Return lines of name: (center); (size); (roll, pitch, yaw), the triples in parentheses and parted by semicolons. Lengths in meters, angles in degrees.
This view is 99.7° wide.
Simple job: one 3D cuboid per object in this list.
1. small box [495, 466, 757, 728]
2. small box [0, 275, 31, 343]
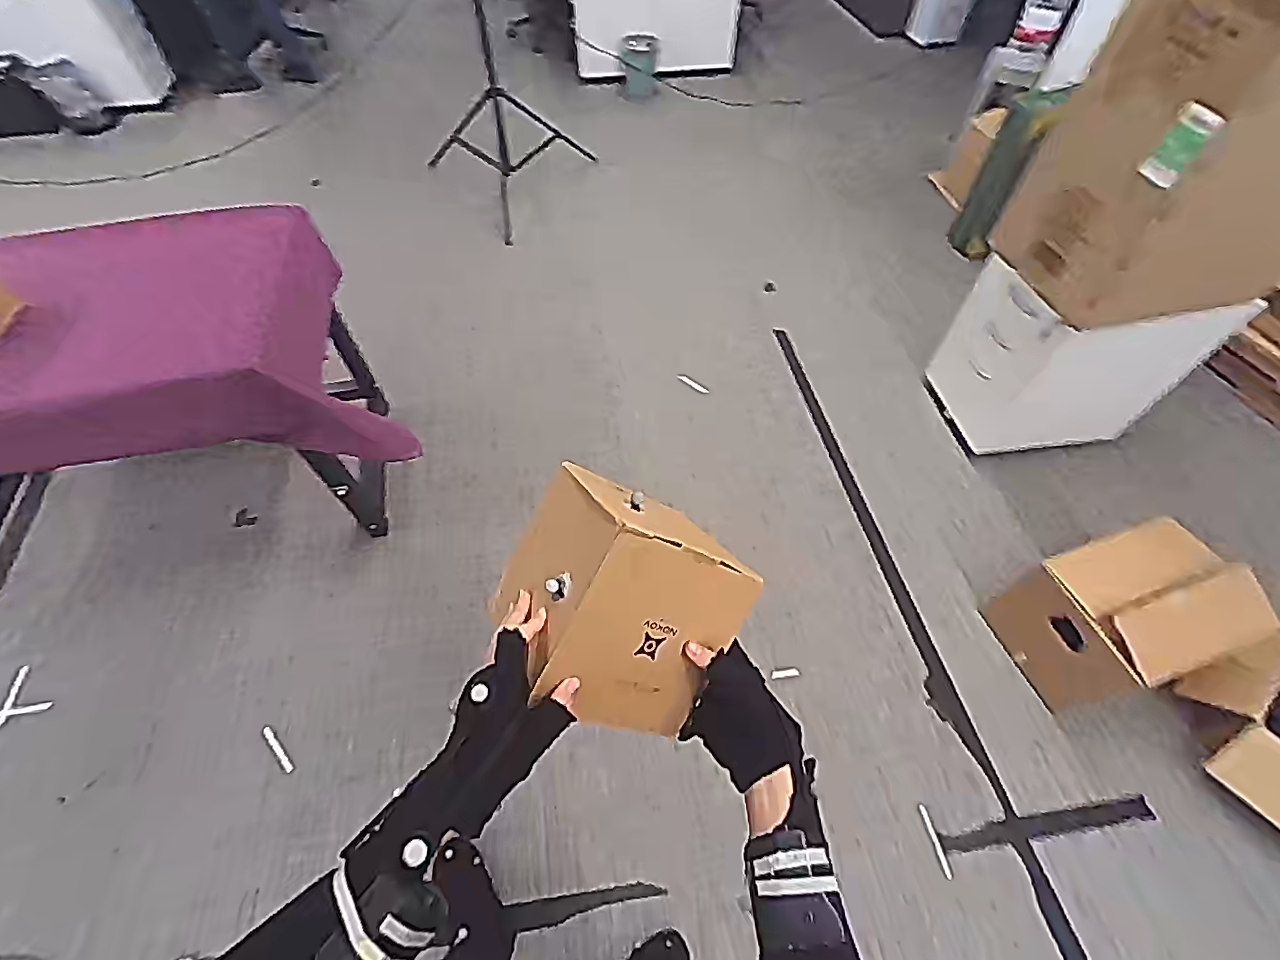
small box: (-0.027, 0.106, 0.533); (0.179, 0.168, 0.176); (-62, 30, 6)
small box: (-1.403, -0.360, 1.075); (0.168, 0.176, 0.179); (-4, 54, -3)
